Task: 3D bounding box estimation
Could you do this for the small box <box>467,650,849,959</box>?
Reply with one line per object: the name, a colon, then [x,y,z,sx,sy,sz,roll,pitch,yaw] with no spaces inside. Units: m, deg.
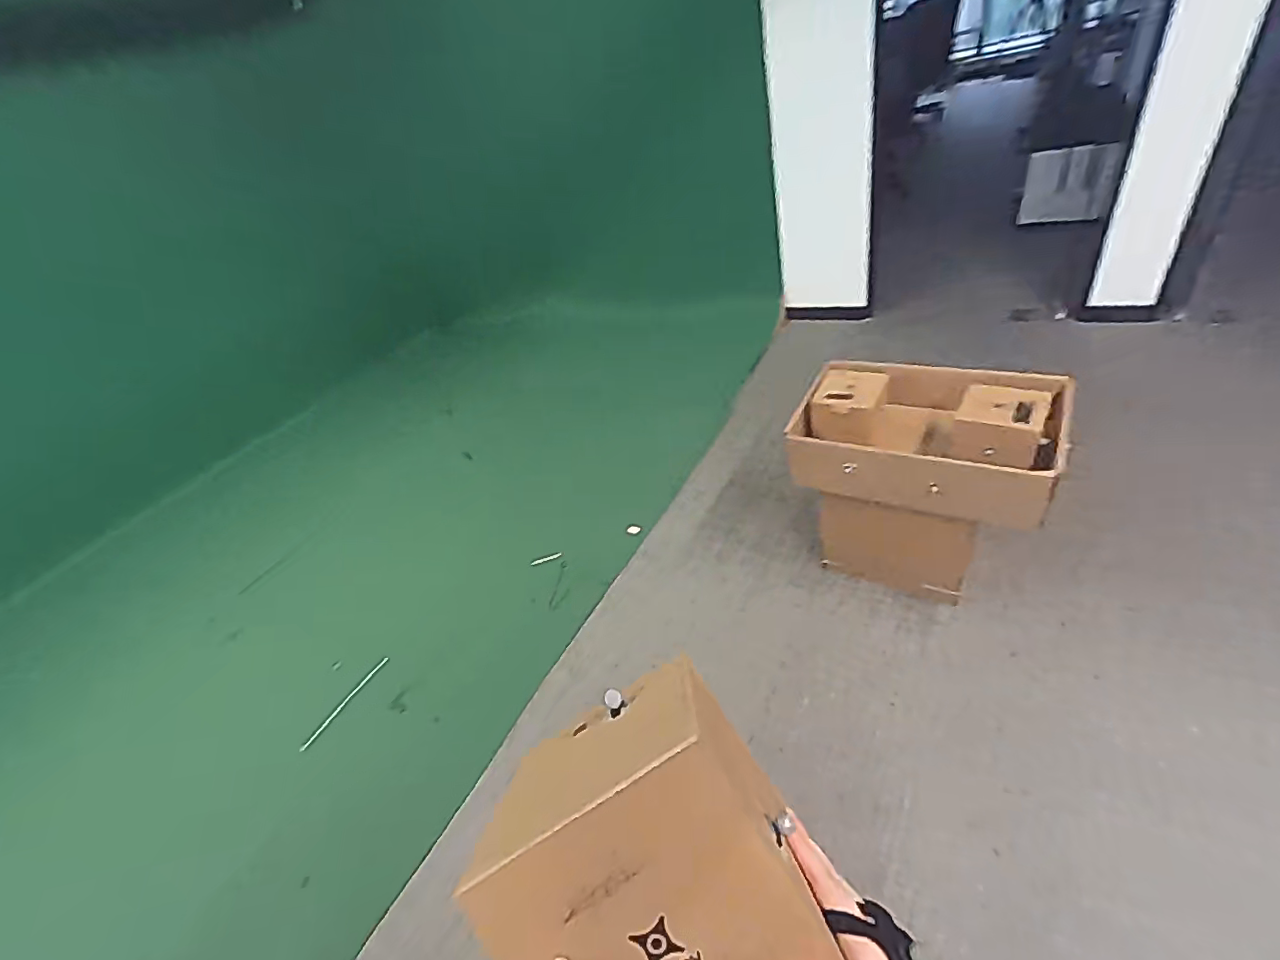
small box: [0.016,0.253,0.386,0.168,0.179,0.176,-32,-3,2]
